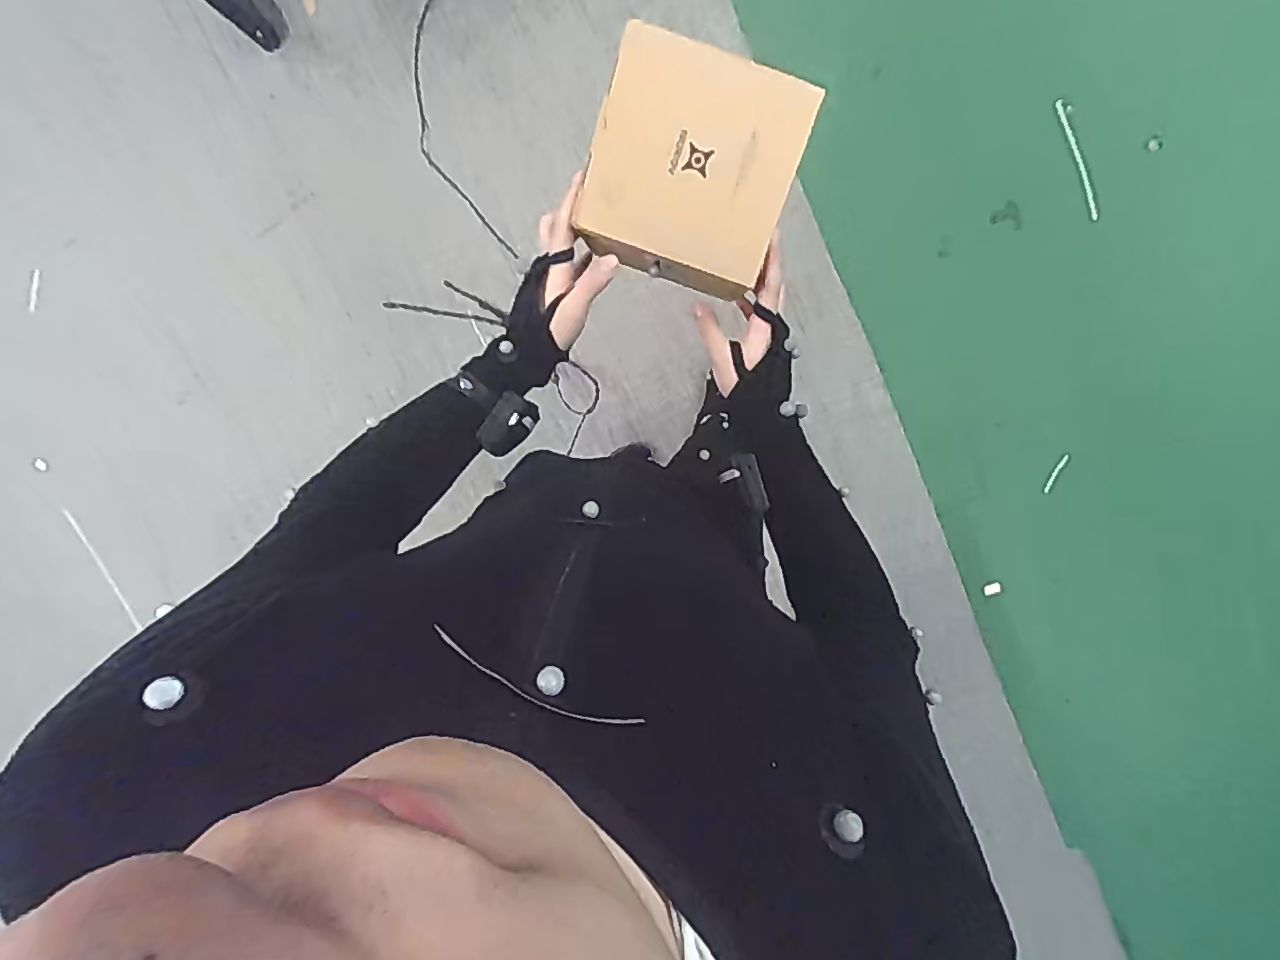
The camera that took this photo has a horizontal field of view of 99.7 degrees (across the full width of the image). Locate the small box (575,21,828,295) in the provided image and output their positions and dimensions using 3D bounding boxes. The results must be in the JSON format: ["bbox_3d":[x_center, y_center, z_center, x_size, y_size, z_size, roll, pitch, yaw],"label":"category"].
[{"bbox_3d":[0.053,-0.295,0.541,0.179,0.176,0.168,19,105,-1],"label":"small box"}]
